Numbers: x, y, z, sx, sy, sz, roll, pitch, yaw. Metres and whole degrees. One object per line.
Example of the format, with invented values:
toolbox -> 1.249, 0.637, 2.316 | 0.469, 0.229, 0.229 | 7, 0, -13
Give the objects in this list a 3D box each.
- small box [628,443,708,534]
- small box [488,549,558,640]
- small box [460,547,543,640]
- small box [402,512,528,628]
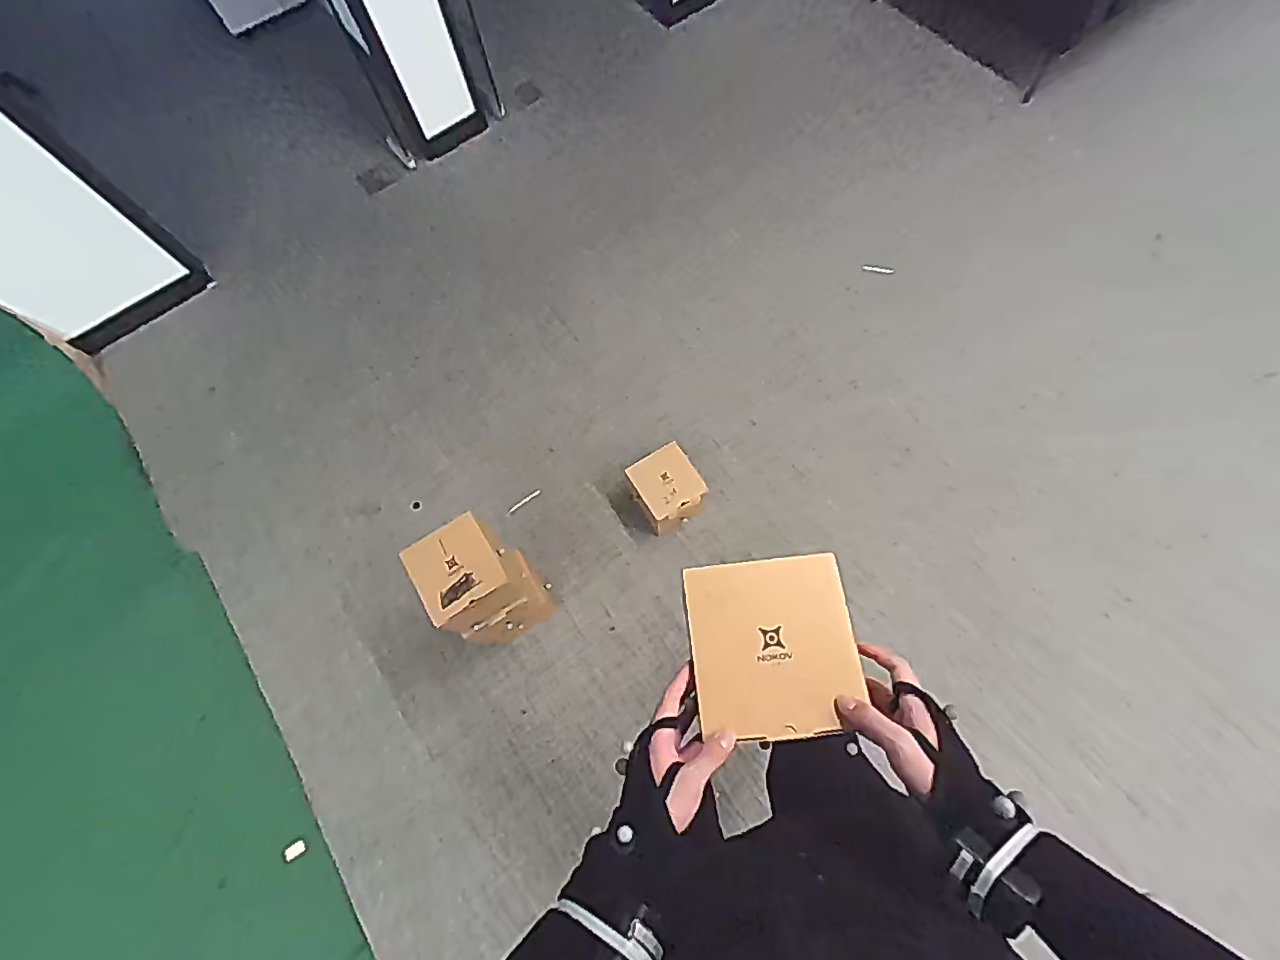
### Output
small box -> 0.078, 0.030, 1.521 | 0.168, 0.176, 0.179 | -25, 72, -3
small box -> -0.341, 0.314, 1.449 | 0.179, 0.176, 0.168 | -30, 72, -8
small box -> -0.353, 0.265, 1.293 | 0.168, 0.176, 0.179 | -31, 73, -8
small box -> -0.359, 0.198, 1.142 | 0.168, 0.176, 0.179 | -32, 71, -8
